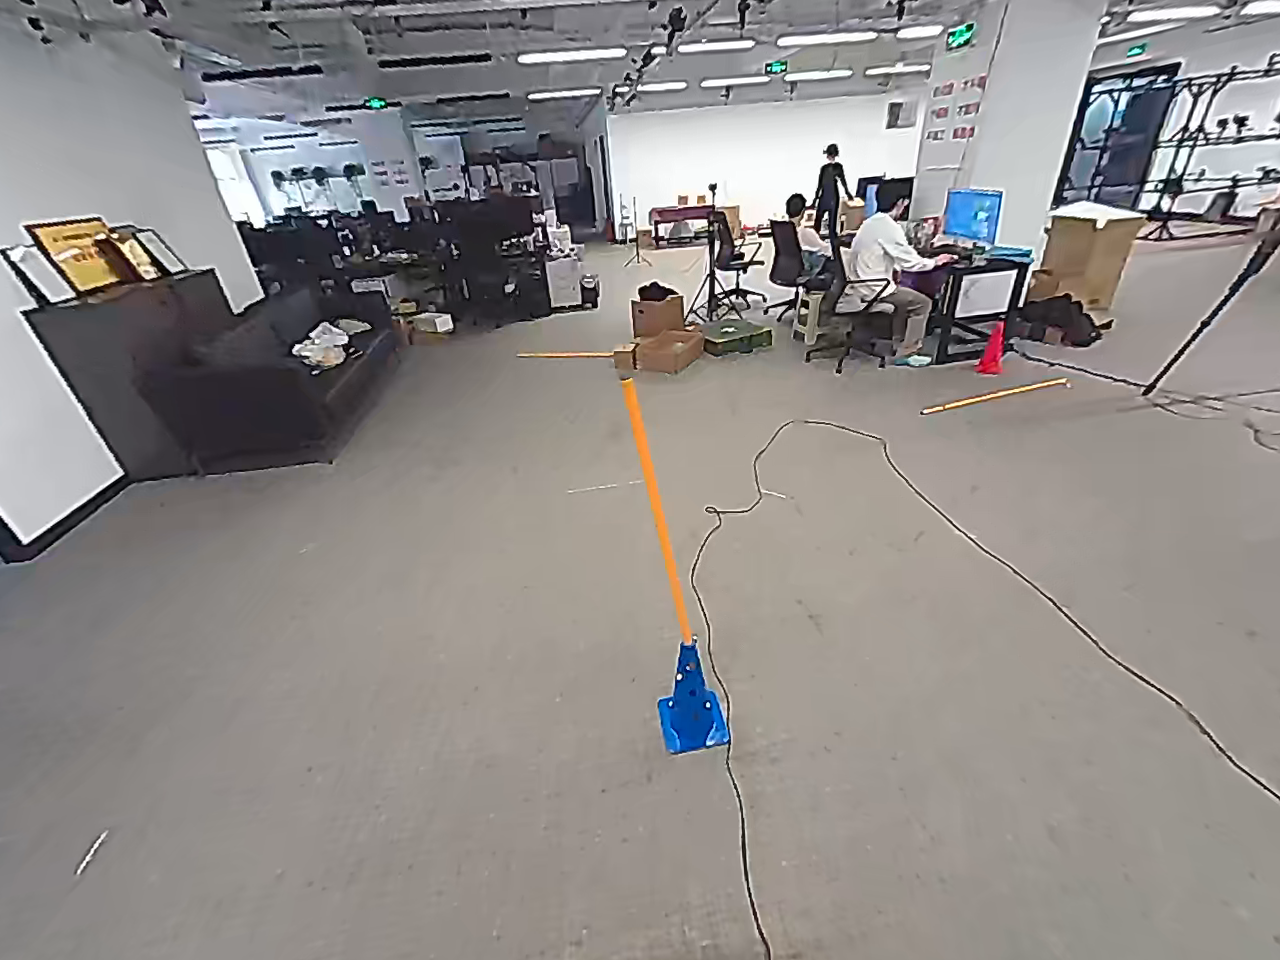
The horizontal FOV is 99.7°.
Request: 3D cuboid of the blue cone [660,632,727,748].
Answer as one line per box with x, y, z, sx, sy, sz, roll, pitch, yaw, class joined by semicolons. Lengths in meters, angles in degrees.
0.152;0.616;1.640;0.193;0.380;0.192;-11;30;-6;blue cone
